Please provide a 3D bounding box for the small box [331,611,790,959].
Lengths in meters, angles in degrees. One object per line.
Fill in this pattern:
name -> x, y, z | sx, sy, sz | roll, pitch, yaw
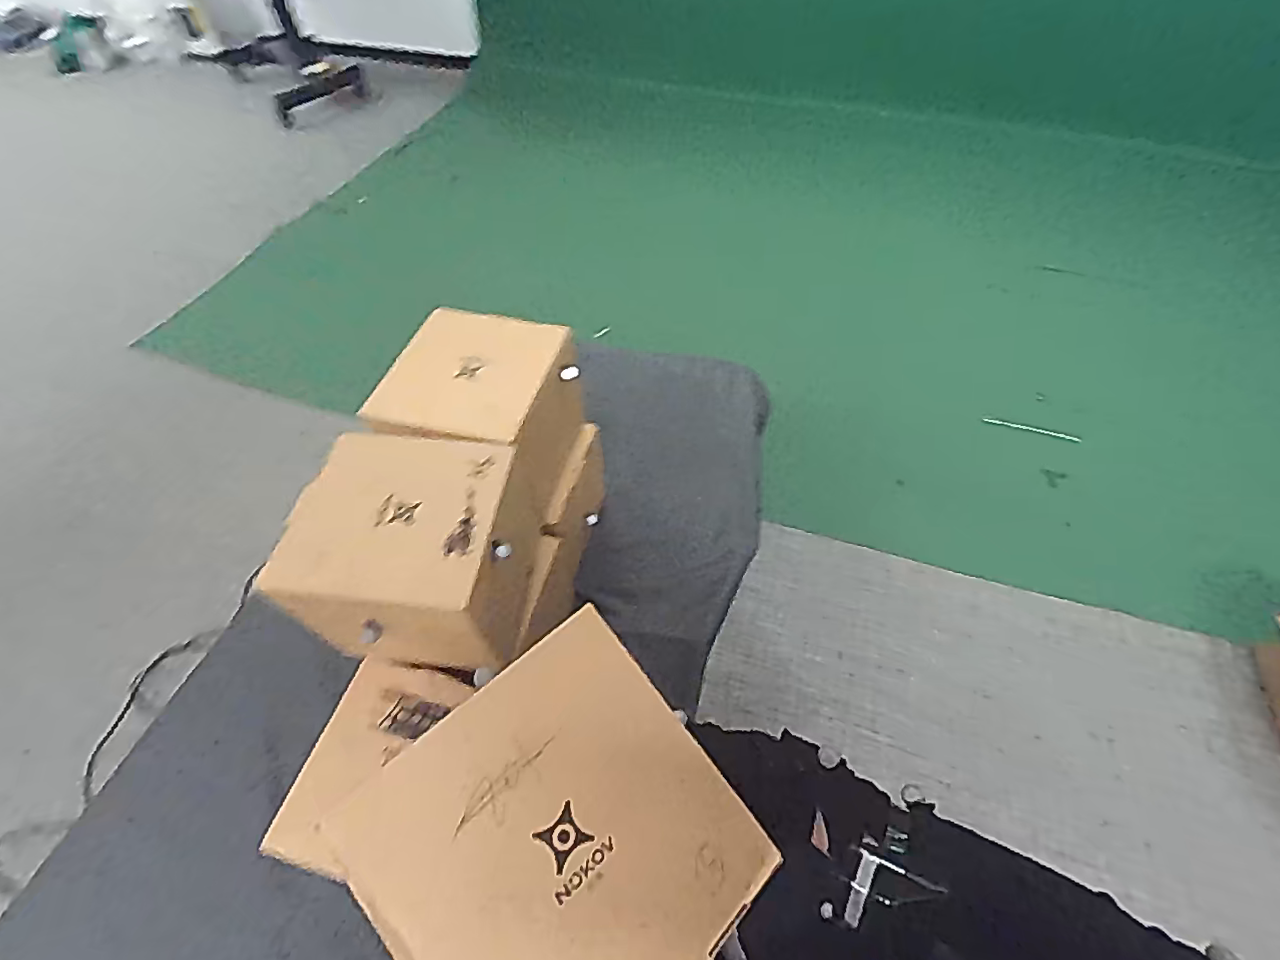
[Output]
small box -> -0.050, 0.210, 0.339 | 0.168, 0.176, 0.179 | -34, 80, -27

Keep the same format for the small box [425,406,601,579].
small box -> -0.165, 0.022, 0.771 | 0.179, 0.176, 0.168 | 12, 56, 9
